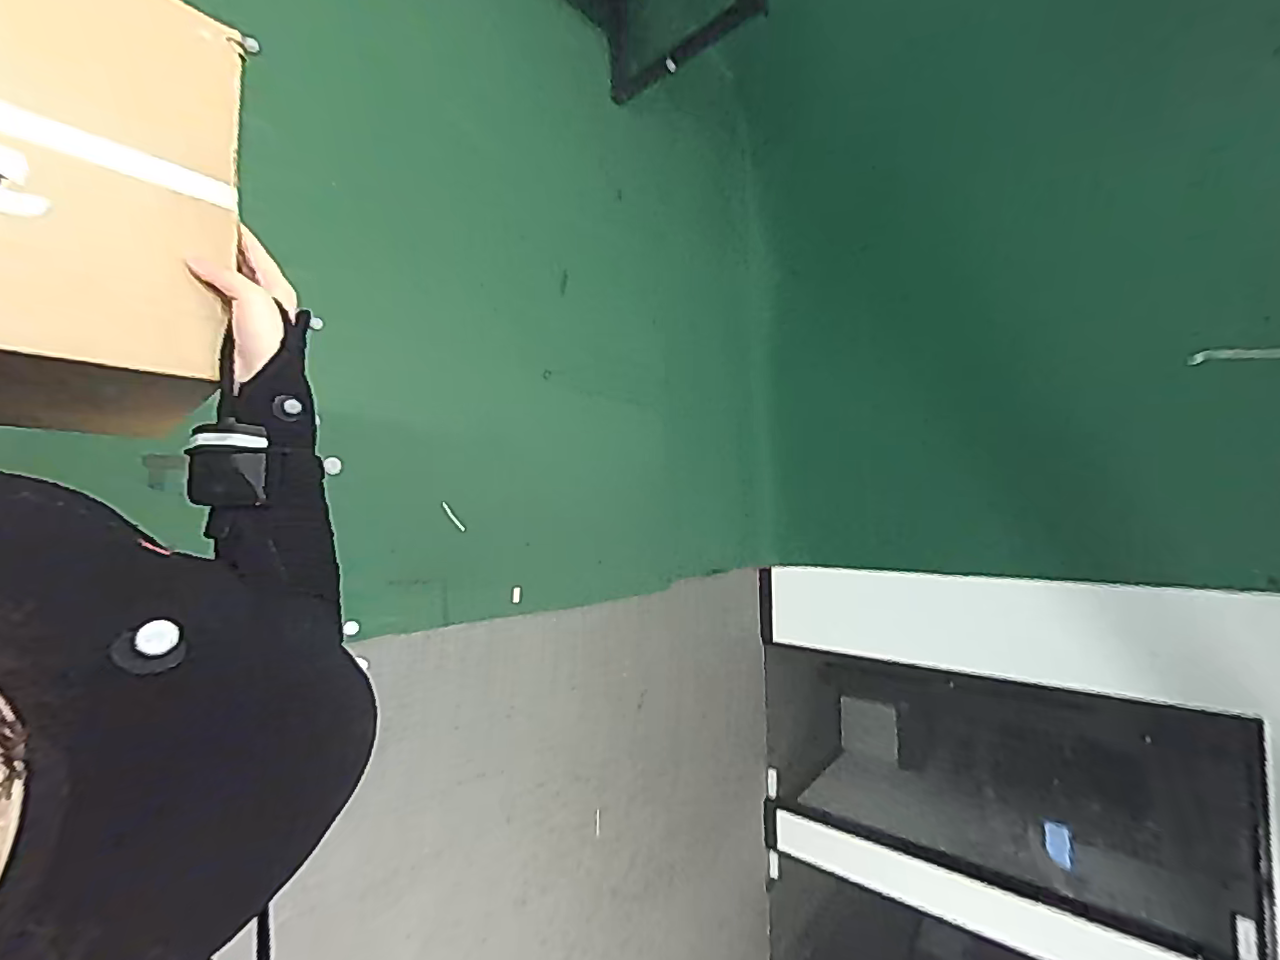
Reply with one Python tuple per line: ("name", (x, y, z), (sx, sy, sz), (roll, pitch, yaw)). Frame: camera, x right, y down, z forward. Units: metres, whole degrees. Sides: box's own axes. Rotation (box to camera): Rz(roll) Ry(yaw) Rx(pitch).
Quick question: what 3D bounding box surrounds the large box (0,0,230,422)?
("large box", (-0.594, -0.236, 0.403), (0.408, 0.320, 0.320), (3, 83, -50))
